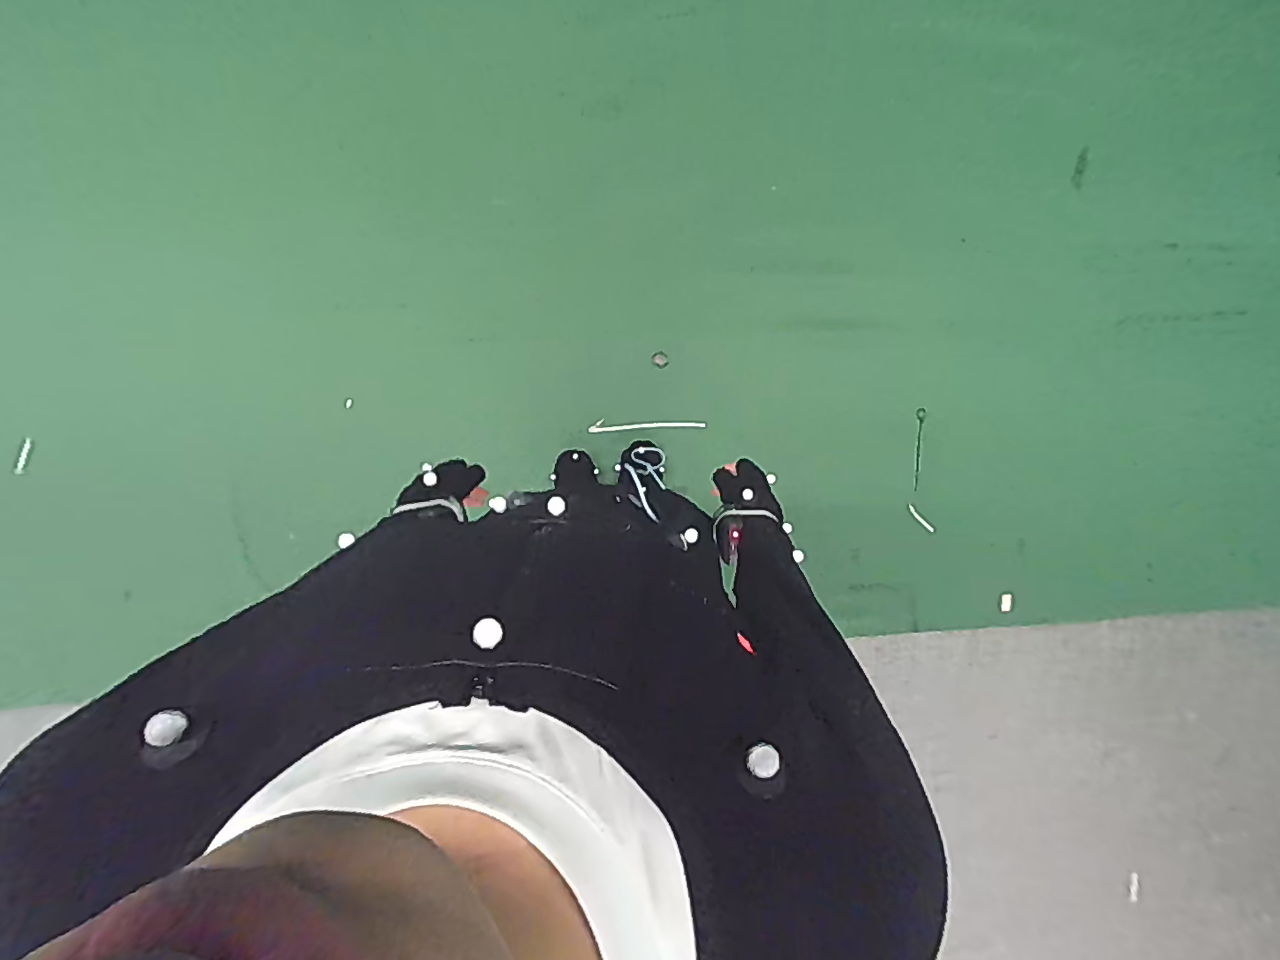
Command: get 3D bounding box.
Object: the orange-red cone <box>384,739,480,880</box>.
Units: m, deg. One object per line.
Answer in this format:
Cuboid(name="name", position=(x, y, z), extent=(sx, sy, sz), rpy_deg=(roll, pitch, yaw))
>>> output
Cuboid(name="orange-red cone", position=(-0.551, 0.849, 1.363), extent=(0.198, 0.360, 0.199), rpy_deg=(-3, 97, -2))
